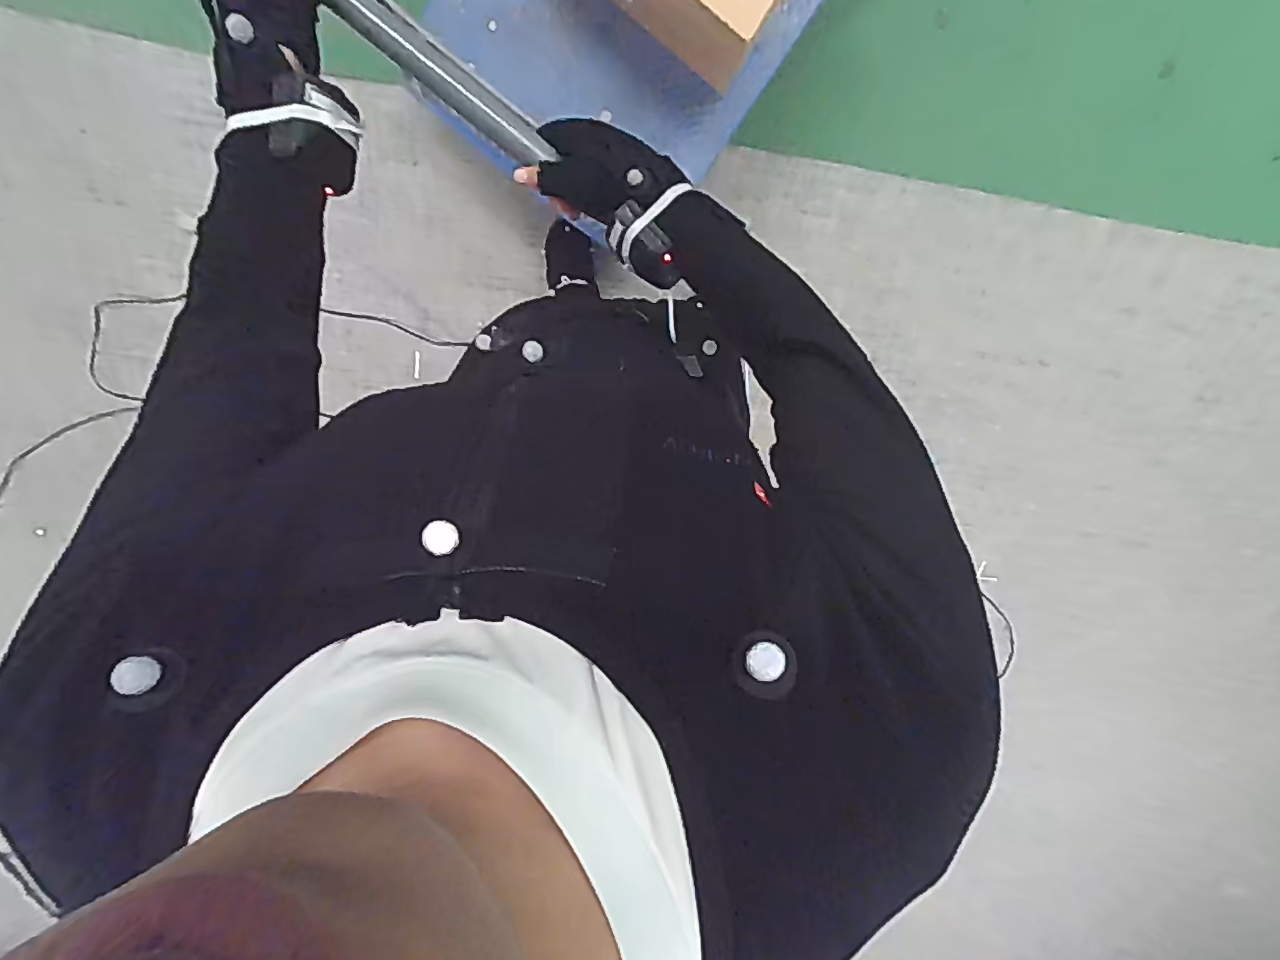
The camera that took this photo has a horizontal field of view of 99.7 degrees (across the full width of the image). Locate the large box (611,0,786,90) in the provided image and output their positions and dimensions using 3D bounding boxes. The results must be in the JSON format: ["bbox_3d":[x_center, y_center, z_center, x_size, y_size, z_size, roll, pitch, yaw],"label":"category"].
[{"bbox_3d":[0.080,-0.892,0.807,0.408,0.320,0.320,32,110,-12],"label":"large box"}]
